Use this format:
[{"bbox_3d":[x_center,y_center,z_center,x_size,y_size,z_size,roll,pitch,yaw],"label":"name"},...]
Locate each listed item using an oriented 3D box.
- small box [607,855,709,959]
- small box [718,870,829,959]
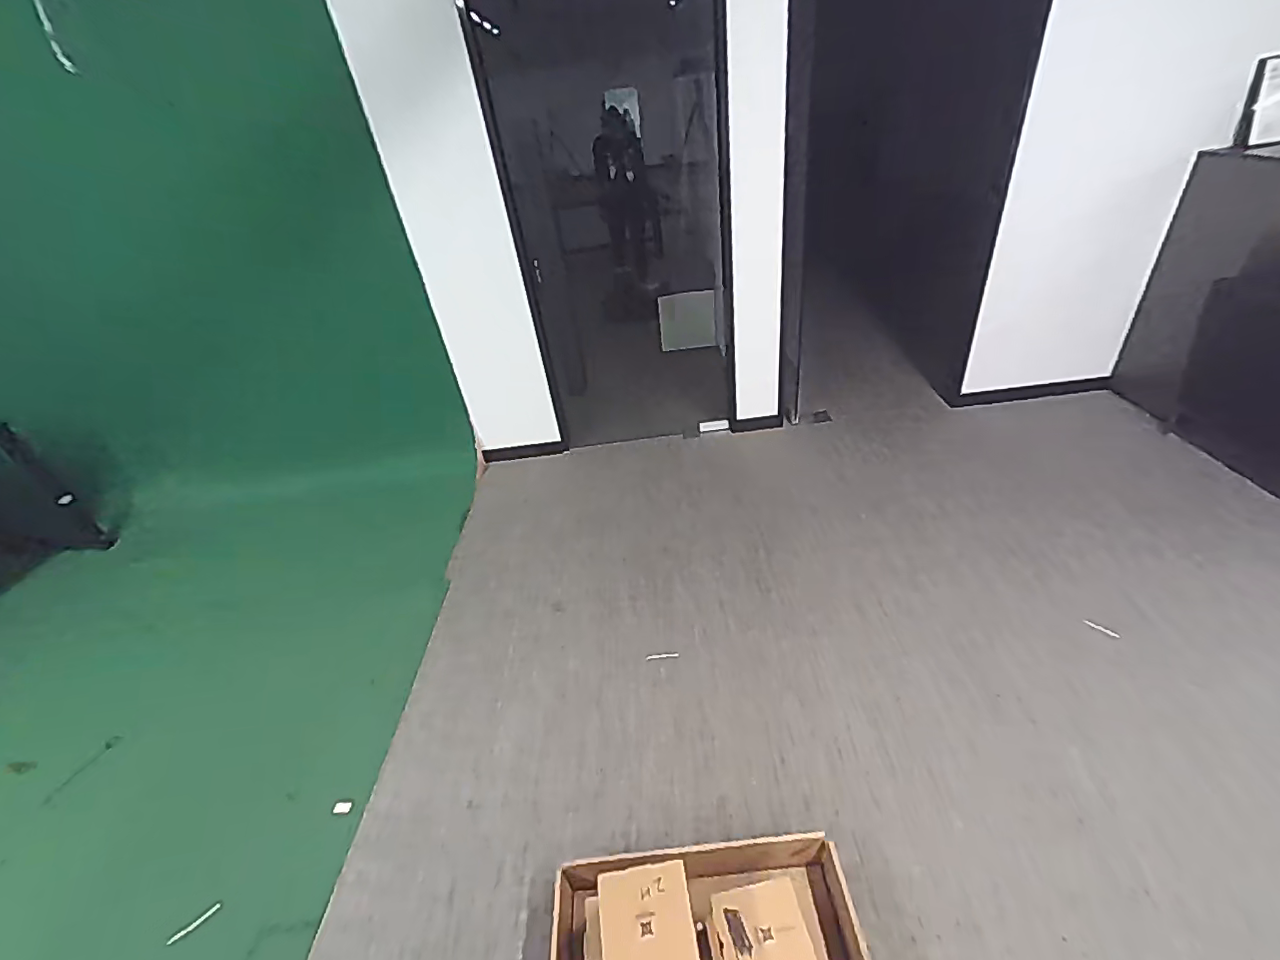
[{"bbox_3d":[0.036,0.841,1.007,0.168,0.176,0.179,-9,37,-3],"label":"small box"},{"bbox_3d":[0.269,0.936,1.099,0.179,0.176,0.168,-12,36,-3],"label":"small box"}]
